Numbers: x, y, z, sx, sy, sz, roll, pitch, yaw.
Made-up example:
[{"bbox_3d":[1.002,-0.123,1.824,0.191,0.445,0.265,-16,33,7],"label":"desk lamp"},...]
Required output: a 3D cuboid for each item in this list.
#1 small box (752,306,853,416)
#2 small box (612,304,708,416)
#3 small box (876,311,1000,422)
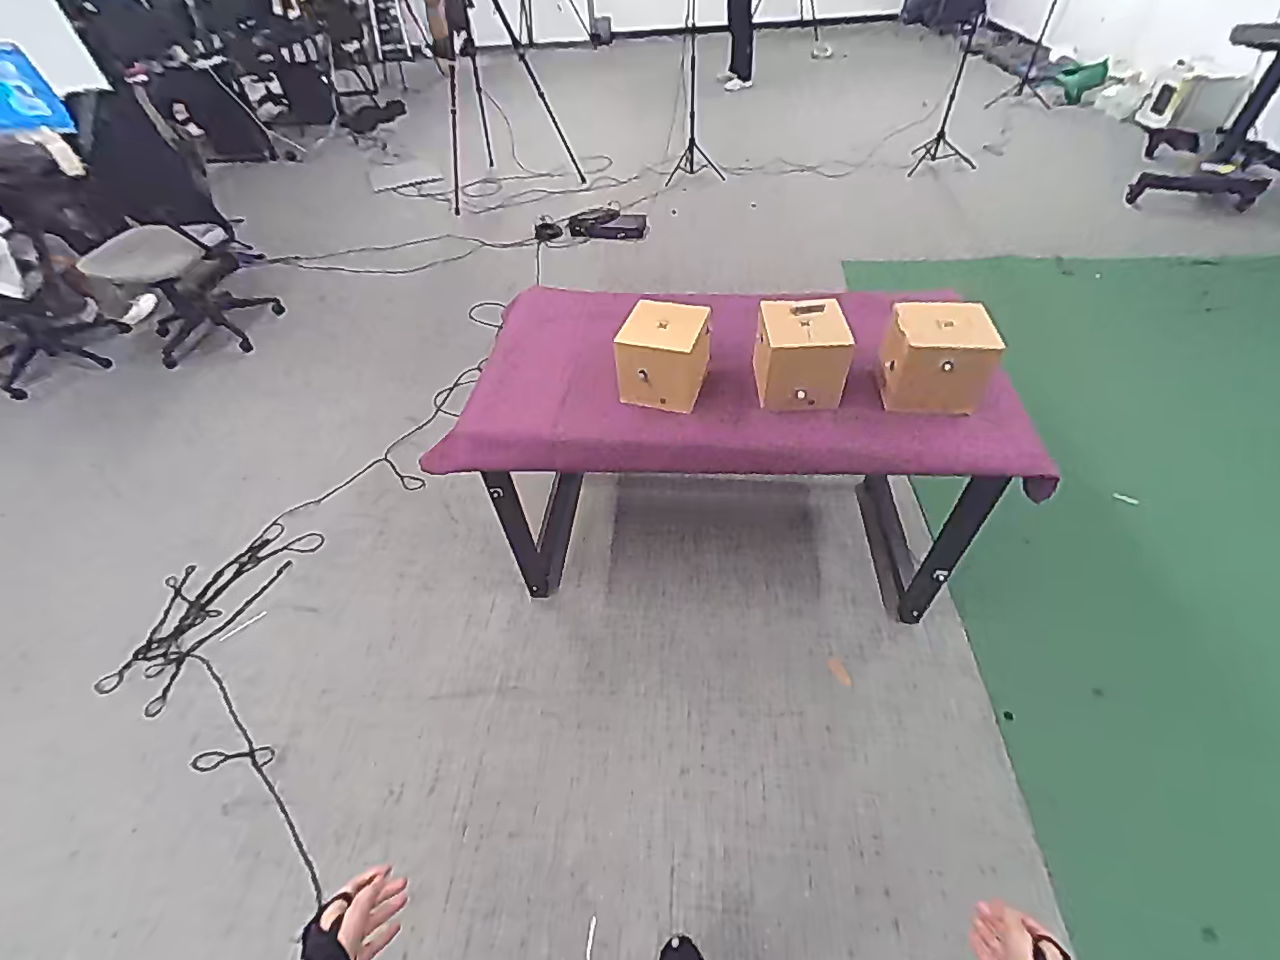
[{"bbox_3d":[0.340,-0.258,1.172,0.168,0.176,0.179,-1,48,3],"label":"small box"},{"bbox_3d":[0.051,-0.264,1.198,0.168,0.176,0.179,12,48,15],"label":"small box"},{"bbox_3d":[0.608,-0.237,1.135,0.179,0.176,0.168,5,47,8],"label":"small box"}]
